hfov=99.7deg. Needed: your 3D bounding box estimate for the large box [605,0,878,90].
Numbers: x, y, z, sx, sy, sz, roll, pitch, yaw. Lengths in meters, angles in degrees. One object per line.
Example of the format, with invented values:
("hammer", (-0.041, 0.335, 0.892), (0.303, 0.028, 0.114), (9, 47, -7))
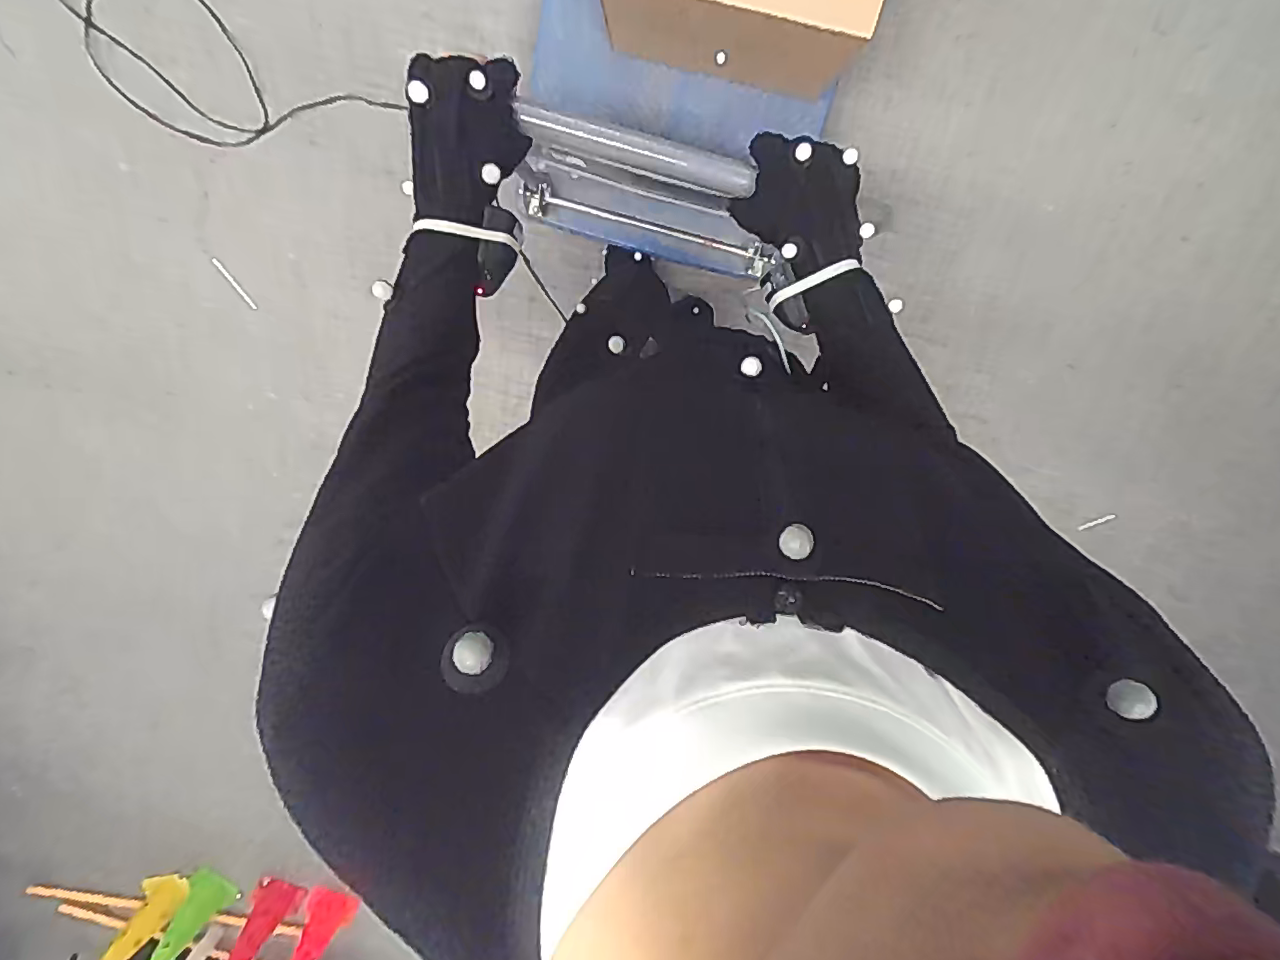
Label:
("large box", (0.172, -0.872, 0.857), (0.408, 0.320, 0.320), (11, 111, -1))
